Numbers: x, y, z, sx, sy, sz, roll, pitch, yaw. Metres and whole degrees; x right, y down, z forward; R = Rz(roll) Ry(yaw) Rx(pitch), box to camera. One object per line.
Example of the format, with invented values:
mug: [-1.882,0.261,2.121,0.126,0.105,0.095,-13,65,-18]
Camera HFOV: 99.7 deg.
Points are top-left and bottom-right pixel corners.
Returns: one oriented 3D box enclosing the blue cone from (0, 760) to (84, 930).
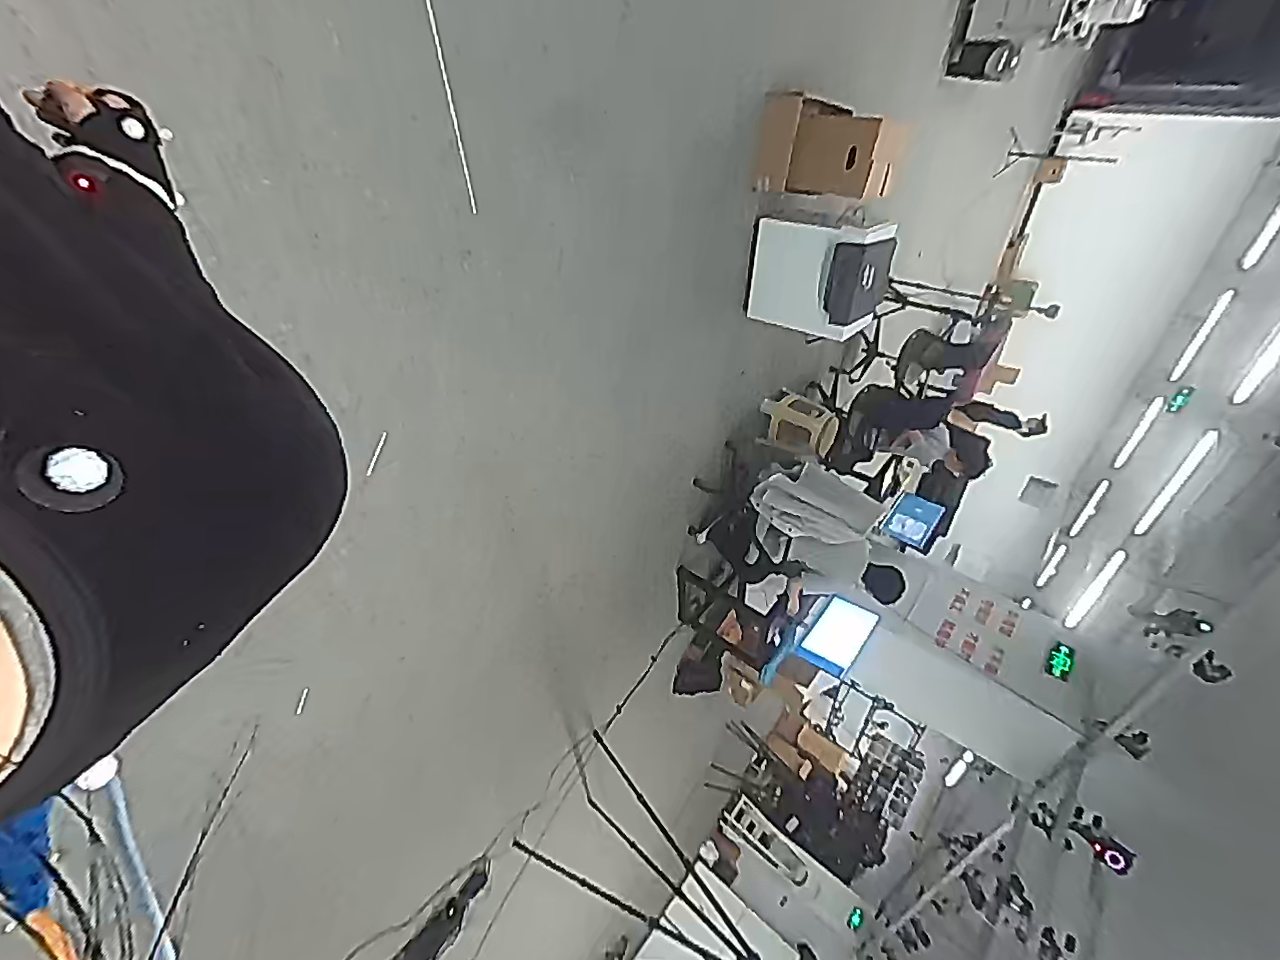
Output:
blue cone: [-1.336,0.823,1.195,0.193,0.380,0.192,20,95,-60]
